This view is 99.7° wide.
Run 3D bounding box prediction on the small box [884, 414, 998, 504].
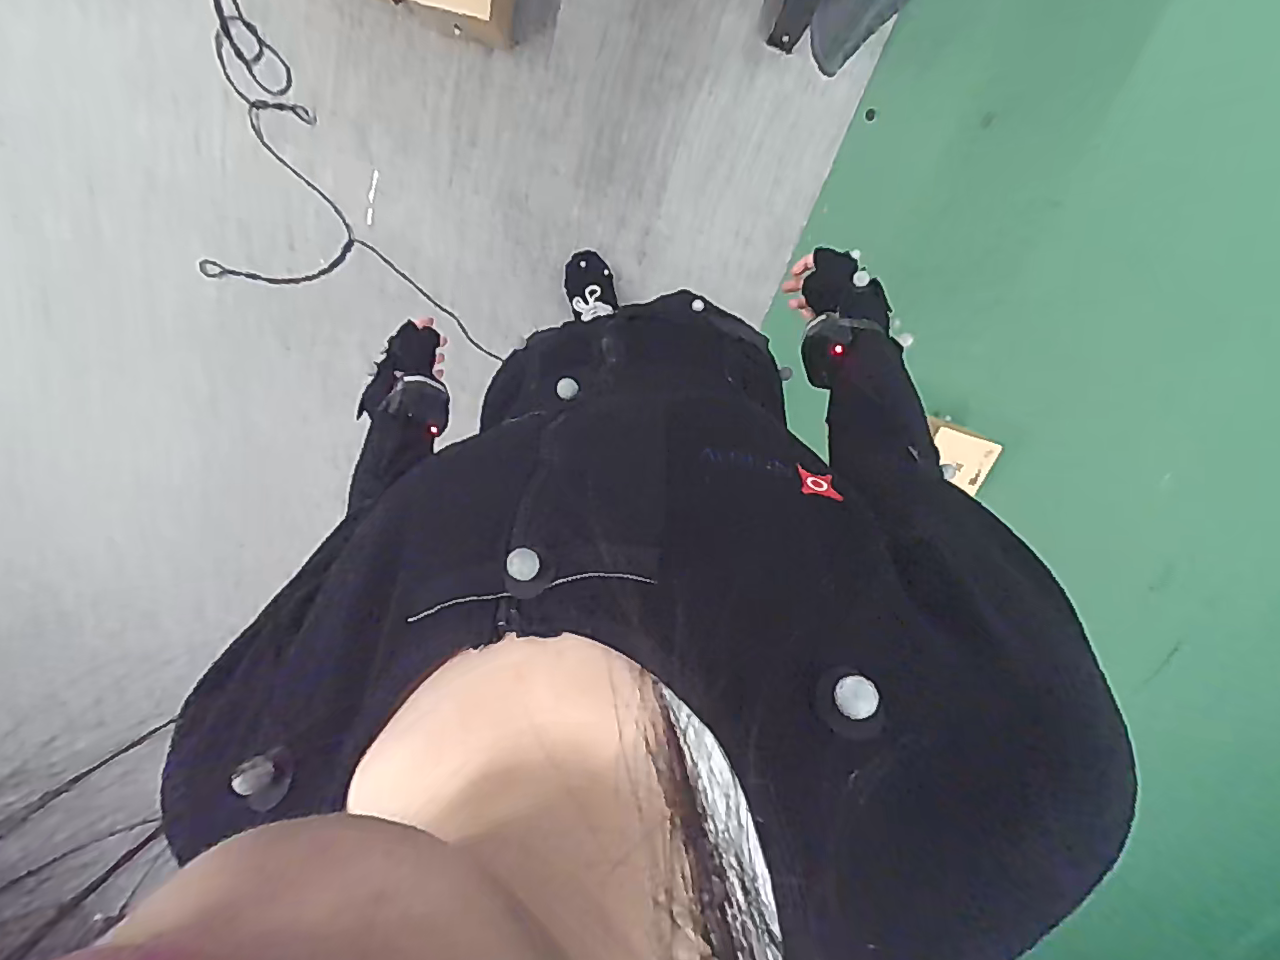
[{"bbox_3d":[0.784,-0.062,1.433,0.179,0.176,0.168,17,112,-6],"label":"small box"}]
